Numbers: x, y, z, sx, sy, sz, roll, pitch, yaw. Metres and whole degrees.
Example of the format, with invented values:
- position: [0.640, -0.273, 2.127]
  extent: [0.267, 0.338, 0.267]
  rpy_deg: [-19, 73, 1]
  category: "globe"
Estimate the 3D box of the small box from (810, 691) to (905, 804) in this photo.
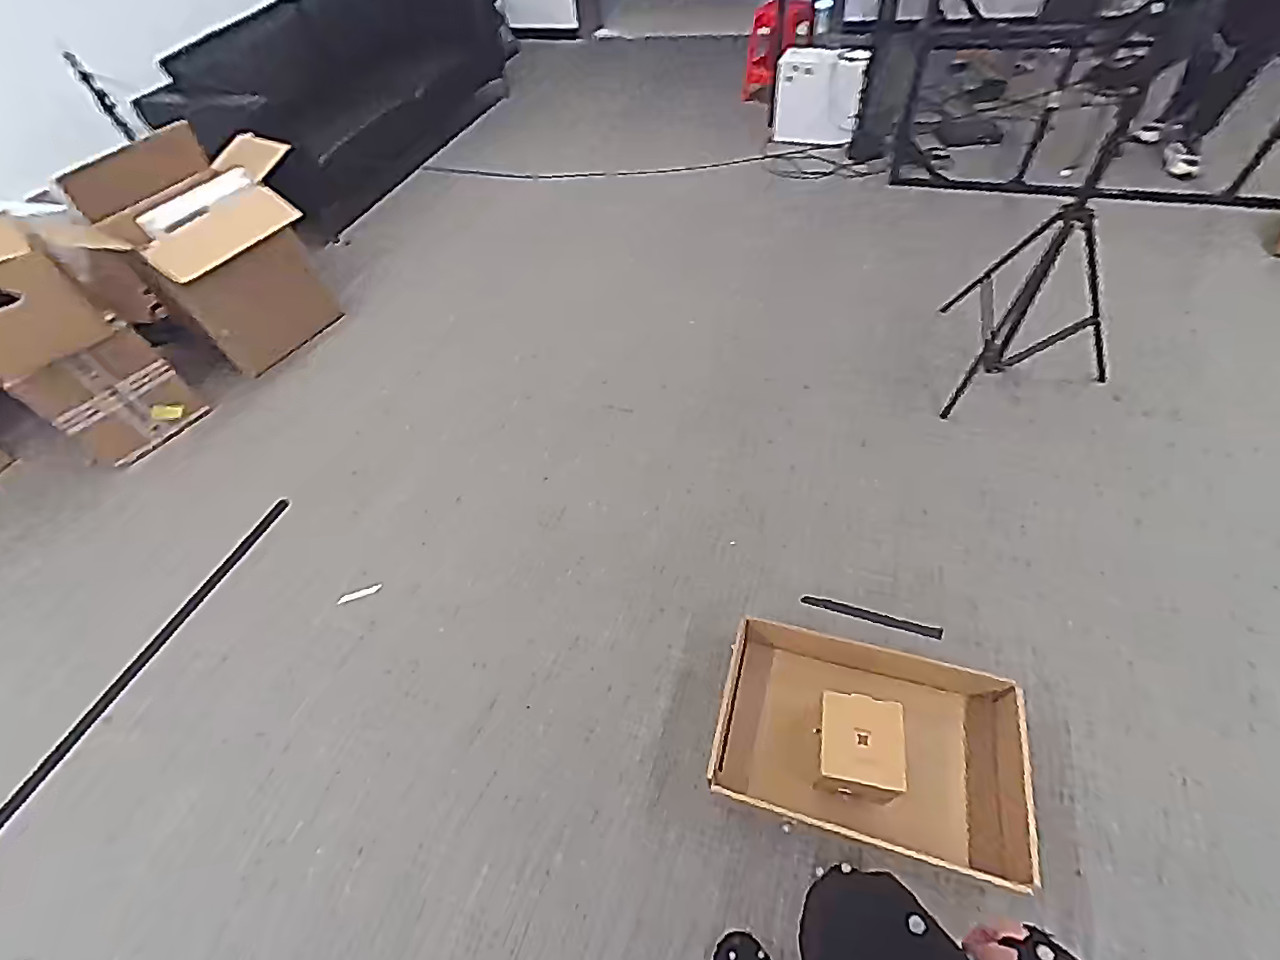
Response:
- position: [0.473, 0.594, 1.197]
  extent: [0.168, 0.176, 0.179]
  rpy_deg: [6, 55, 13]
  category: "small box"
